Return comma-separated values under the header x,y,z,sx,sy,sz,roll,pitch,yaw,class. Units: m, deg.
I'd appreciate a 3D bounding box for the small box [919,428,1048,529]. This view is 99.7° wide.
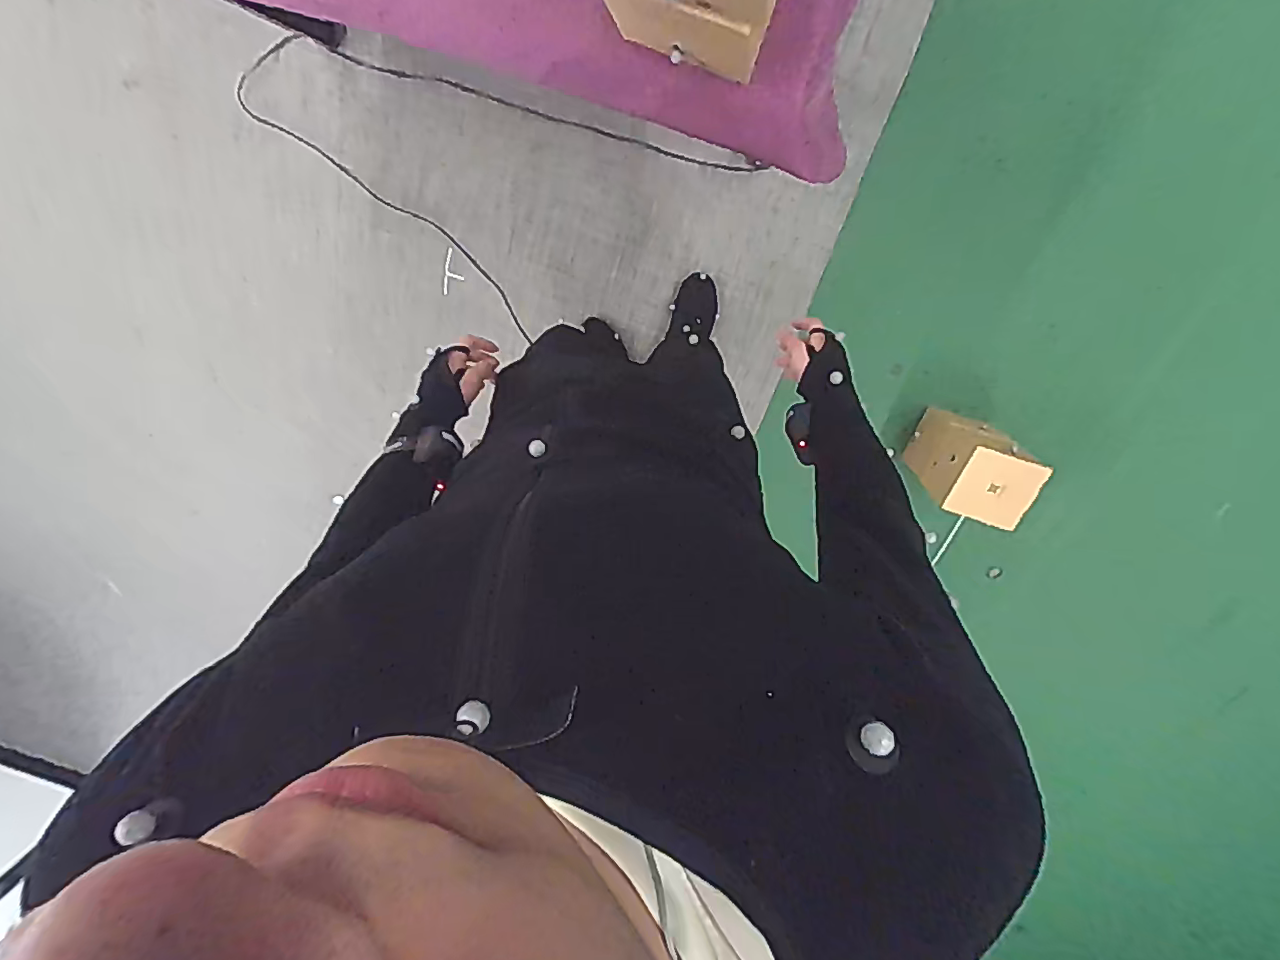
x,y,z,sx,sy,sz,roll,pitch,yaw,class
0.807,-0.012,1.295,0.179,0.176,0.168,17,114,0,small box

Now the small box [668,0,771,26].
x,y,z,sx,sy,sz,roll,pitch,yaw,class
0.050,-0.494,0.401,0.168,0.176,0.179,20,115,2,small box

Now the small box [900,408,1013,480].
x,y,z,sx,sy,sz,roll,pitch,yaw,class
0.832,-0.078,1.440,0.179,0.176,0.168,18,115,2,small box
